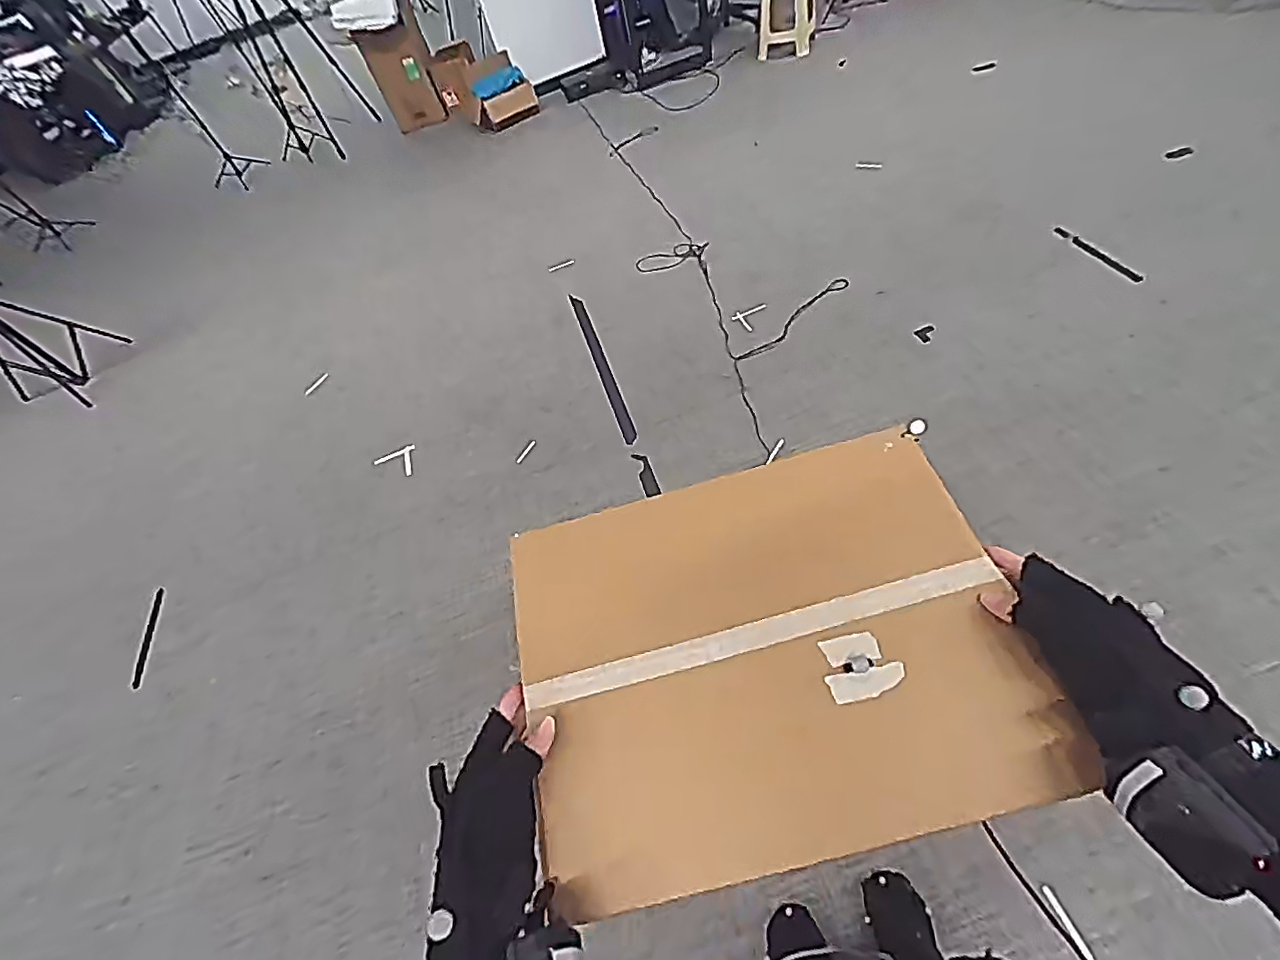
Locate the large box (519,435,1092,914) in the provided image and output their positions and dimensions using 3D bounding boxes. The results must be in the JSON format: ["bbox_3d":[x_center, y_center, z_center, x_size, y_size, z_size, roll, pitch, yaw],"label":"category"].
[{"bbox_3d":[0.123,0.211,0.590,0.408,0.320,0.320,-16,58,1],"label":"large box"}]
